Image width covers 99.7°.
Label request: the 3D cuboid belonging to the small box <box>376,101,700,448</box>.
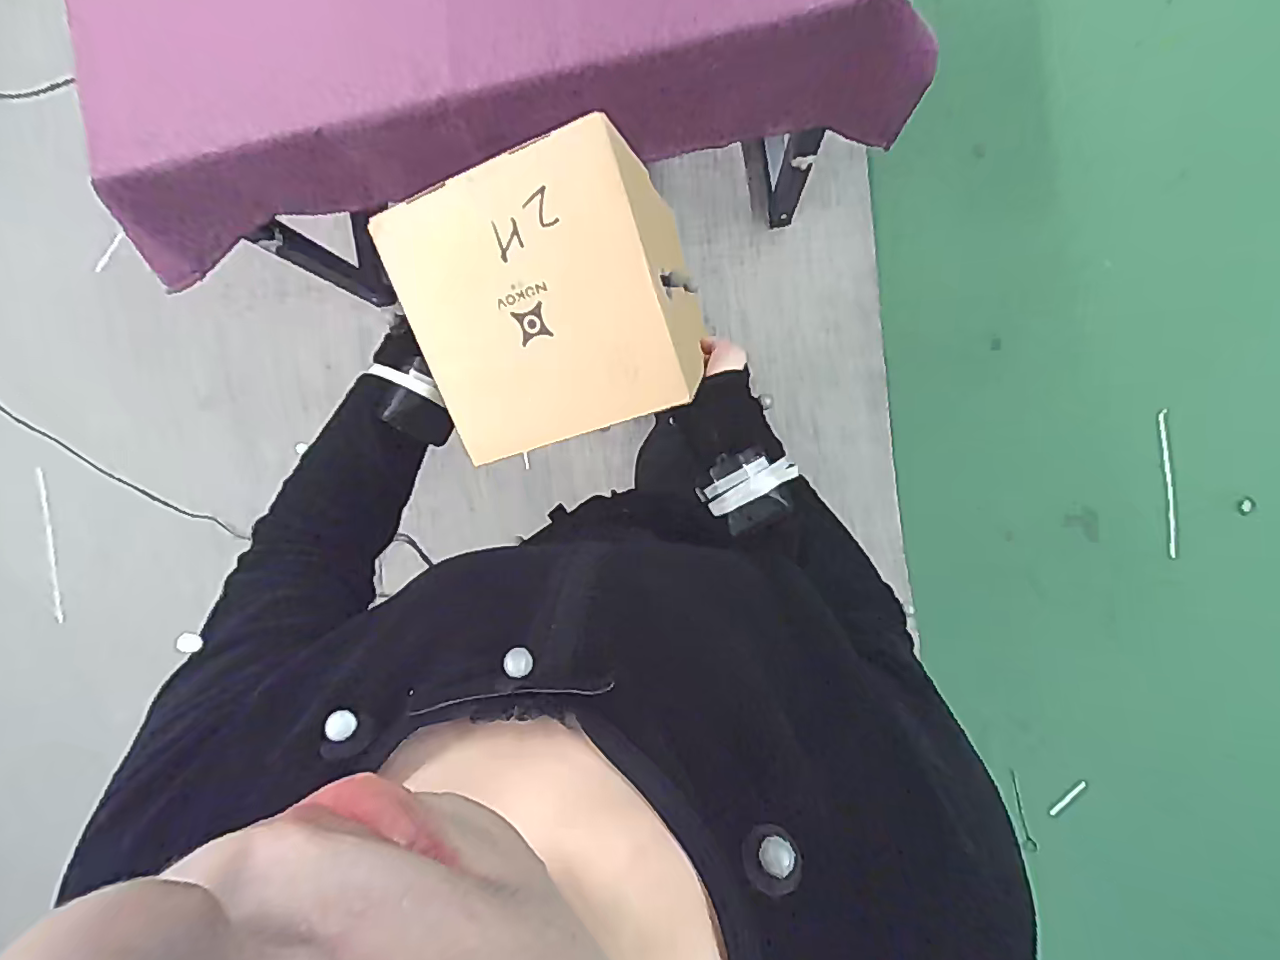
[{"bbox_3d":[-0.055,-0.145,0.424,0.168,0.176,0.179,-15,105,14],"label":"small box"}]
